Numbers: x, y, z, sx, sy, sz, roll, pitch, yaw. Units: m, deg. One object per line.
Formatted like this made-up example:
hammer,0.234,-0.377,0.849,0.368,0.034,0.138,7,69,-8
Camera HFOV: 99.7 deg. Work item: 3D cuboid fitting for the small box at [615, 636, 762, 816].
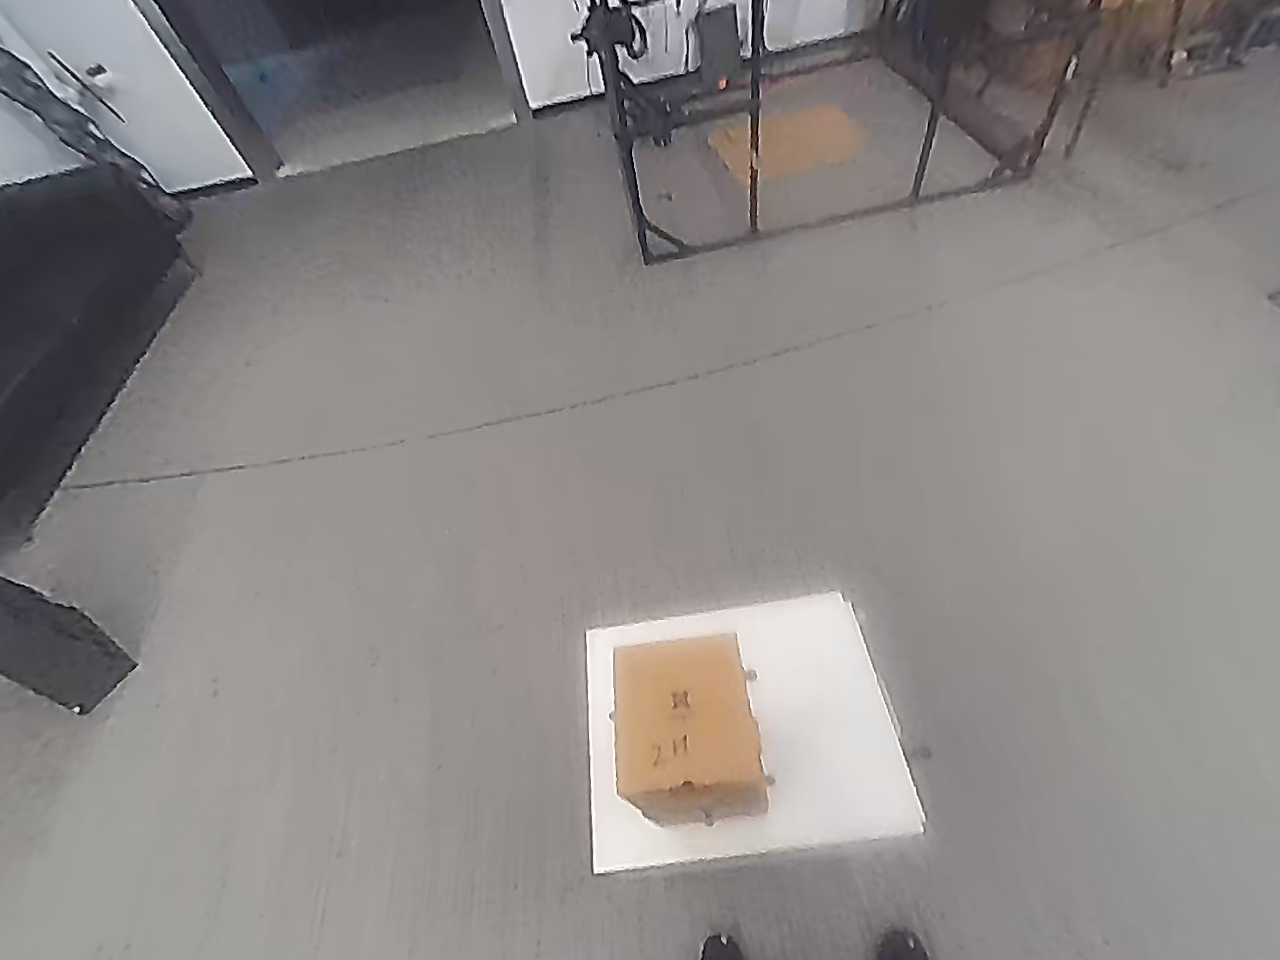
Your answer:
small box,0.063,0.328,0.716,0.168,0.176,0.179,-9,52,6
